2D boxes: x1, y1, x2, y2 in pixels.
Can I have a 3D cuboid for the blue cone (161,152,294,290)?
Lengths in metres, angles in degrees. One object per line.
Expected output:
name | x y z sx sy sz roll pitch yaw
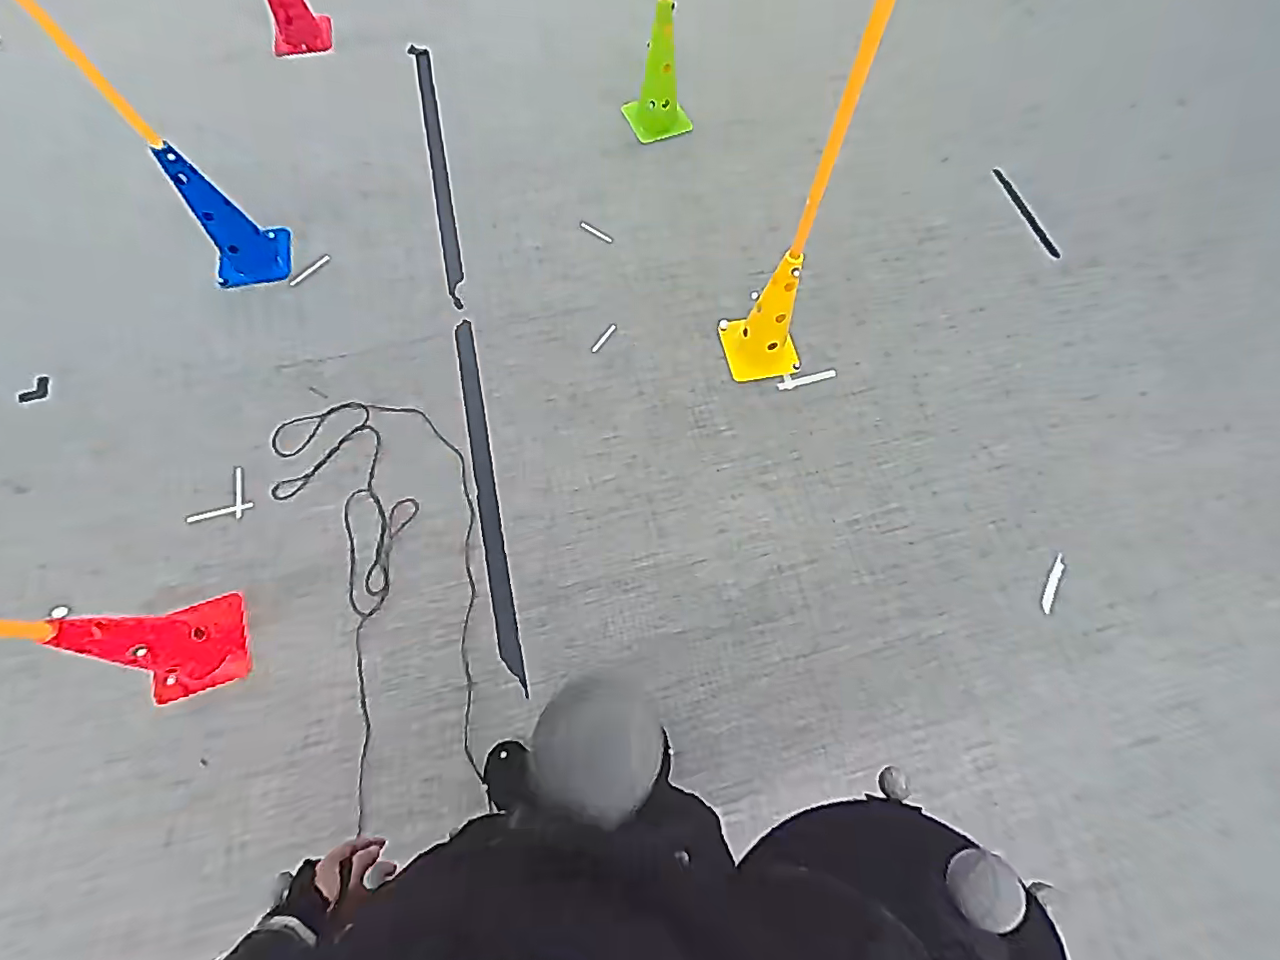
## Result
blue cone | -1.132 -0.712 1.463 0.193 0.380 0.192 -10 70 -5

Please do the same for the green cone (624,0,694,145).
green cone | 0.070 -1.309 1.715 0.200 0.368 0.202 -23 73 -10

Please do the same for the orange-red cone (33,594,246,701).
orange-red cone | -0.982 0.308 1.050 0.199 0.360 0.198 -17 70 -9
